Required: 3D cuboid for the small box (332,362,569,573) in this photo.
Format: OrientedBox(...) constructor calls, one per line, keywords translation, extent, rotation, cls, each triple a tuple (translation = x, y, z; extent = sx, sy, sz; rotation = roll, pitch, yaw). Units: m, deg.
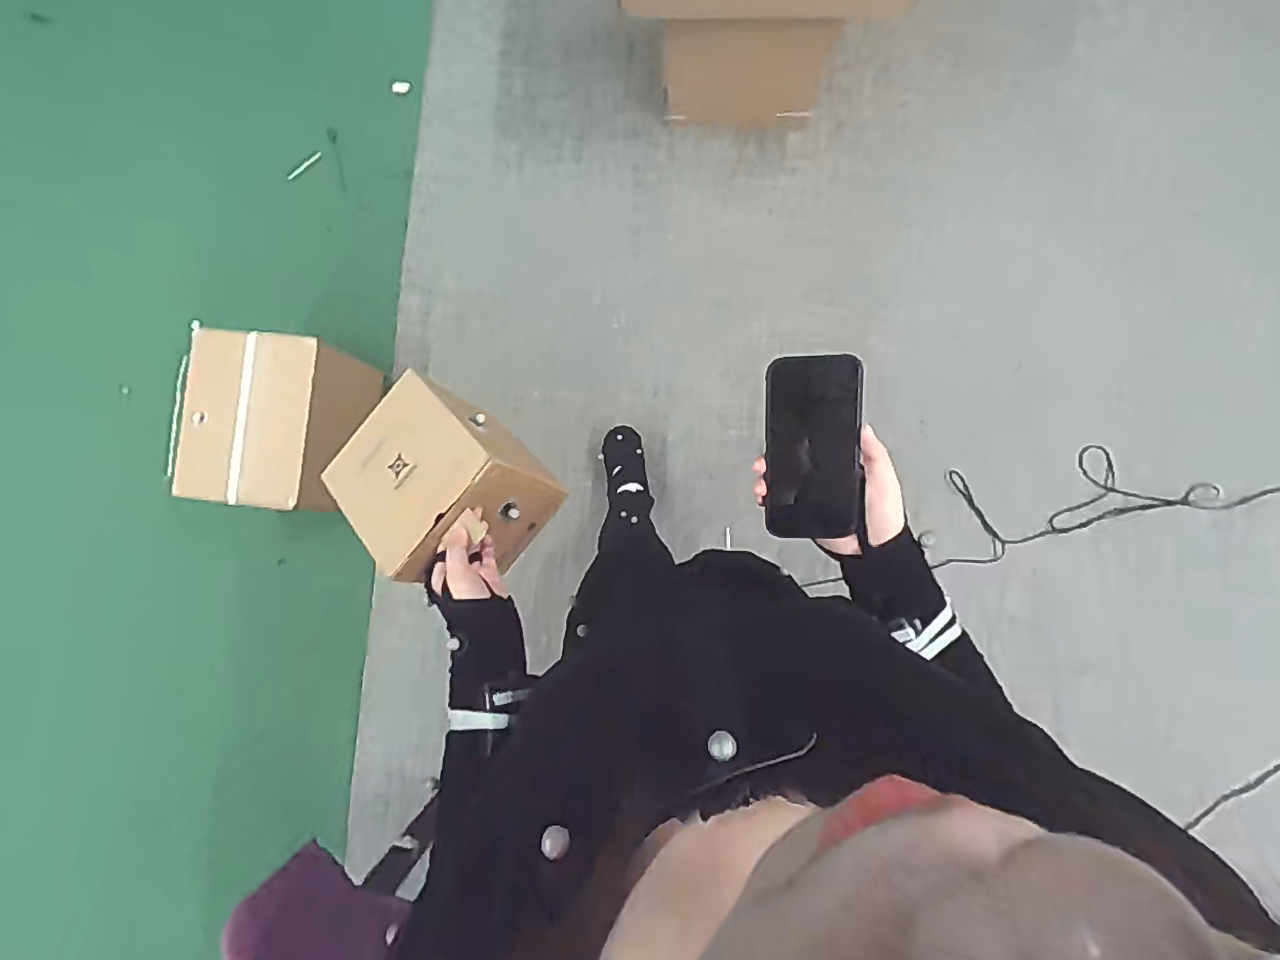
OrientedBox(translation=(-0.217, -0.003, 0.651), extent=(0.168, 0.176, 0.179), rotation=(-47, 63, 4), cls="small box")
